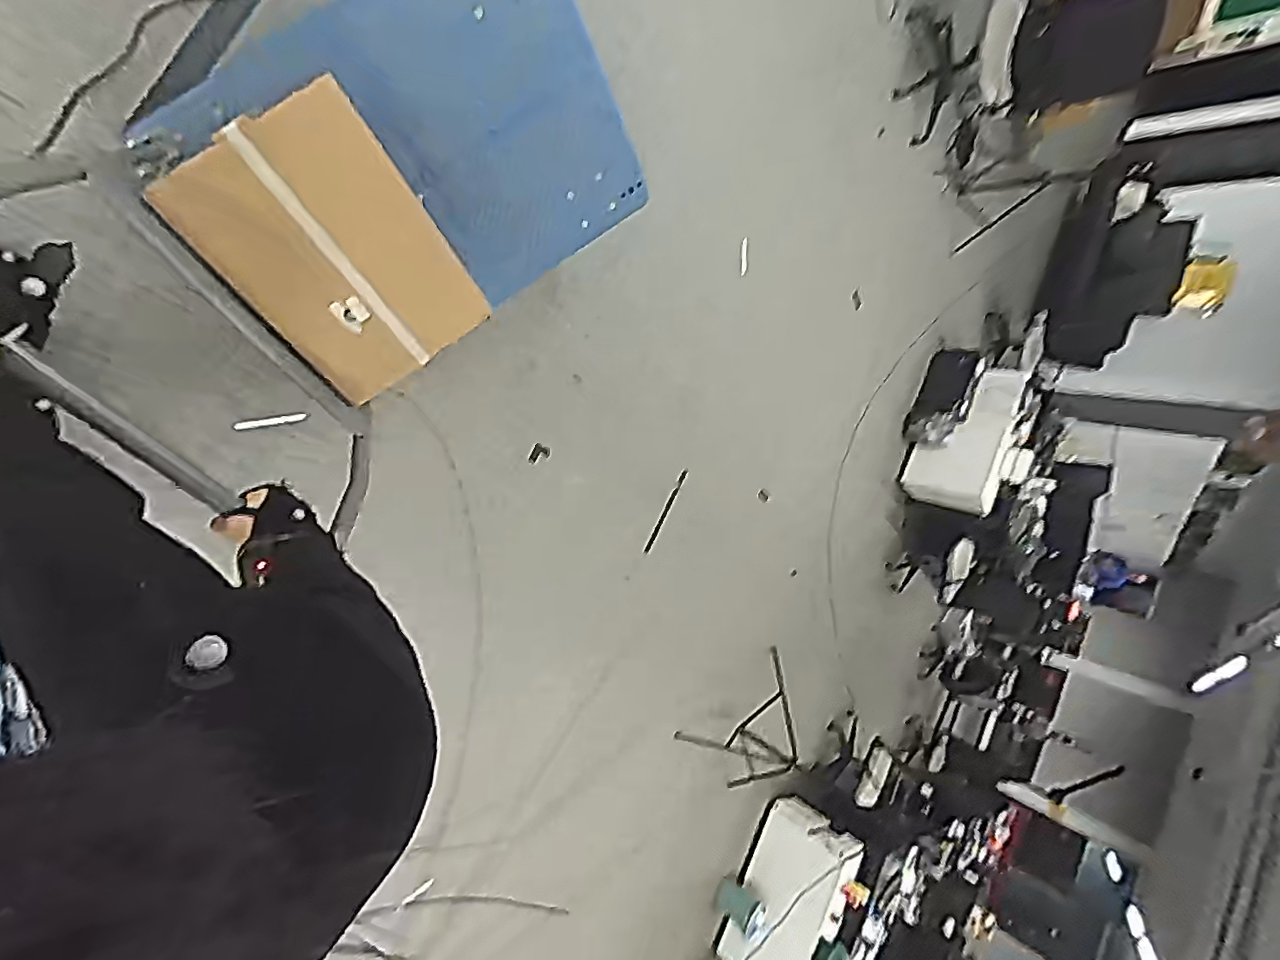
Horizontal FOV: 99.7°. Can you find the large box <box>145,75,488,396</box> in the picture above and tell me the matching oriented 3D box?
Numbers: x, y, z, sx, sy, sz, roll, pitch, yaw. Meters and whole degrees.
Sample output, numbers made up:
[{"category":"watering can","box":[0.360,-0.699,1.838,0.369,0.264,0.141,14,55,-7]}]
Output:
[{"category":"large box","box":[-0.554,-0.441,1.001,0.320,0.320,0.408,-35,131,-4]}]
